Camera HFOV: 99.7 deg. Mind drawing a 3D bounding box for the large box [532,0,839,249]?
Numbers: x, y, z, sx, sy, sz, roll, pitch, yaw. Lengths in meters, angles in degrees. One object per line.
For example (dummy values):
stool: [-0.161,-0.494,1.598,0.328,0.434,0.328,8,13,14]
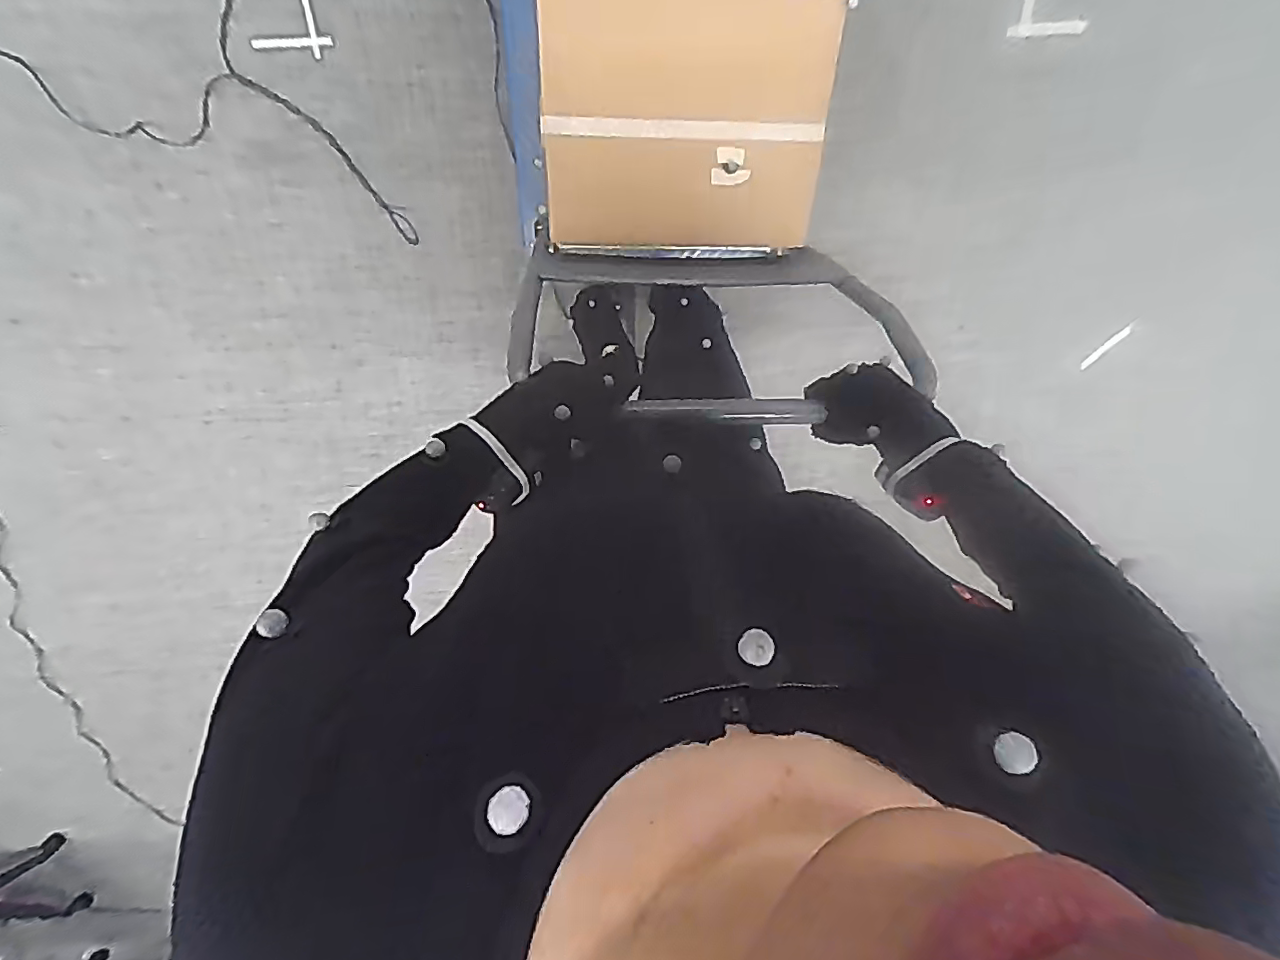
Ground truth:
large box: [0.046,-0.574,0.890,0.408,0.320,0.320,-2,124,-6]
